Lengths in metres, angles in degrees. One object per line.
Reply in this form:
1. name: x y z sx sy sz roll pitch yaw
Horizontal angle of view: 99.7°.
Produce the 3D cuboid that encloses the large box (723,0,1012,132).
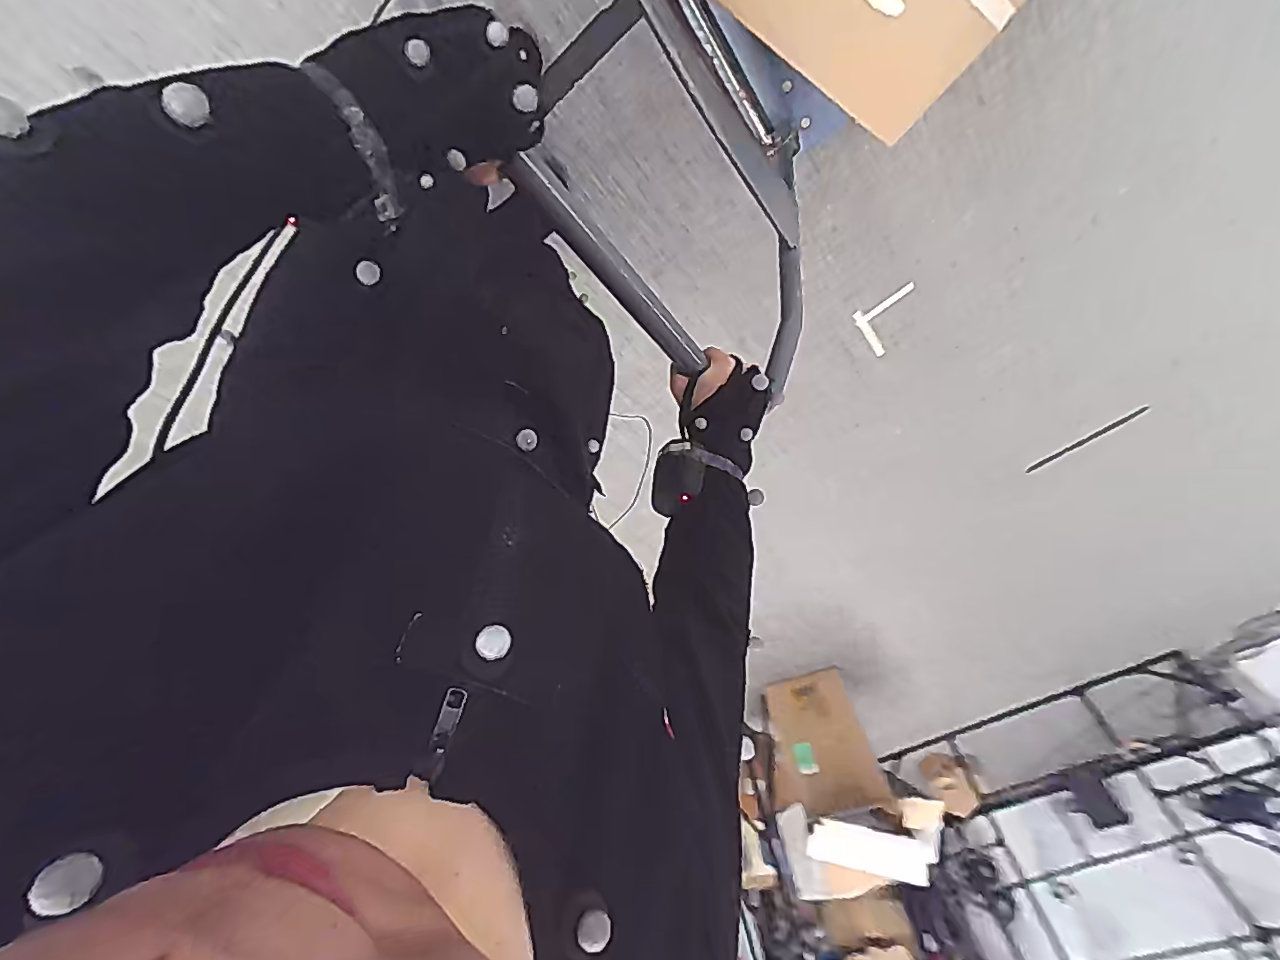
1. large box: 0.242 -0.710 0.611 0.408 0.320 0.320 22 141 -22
